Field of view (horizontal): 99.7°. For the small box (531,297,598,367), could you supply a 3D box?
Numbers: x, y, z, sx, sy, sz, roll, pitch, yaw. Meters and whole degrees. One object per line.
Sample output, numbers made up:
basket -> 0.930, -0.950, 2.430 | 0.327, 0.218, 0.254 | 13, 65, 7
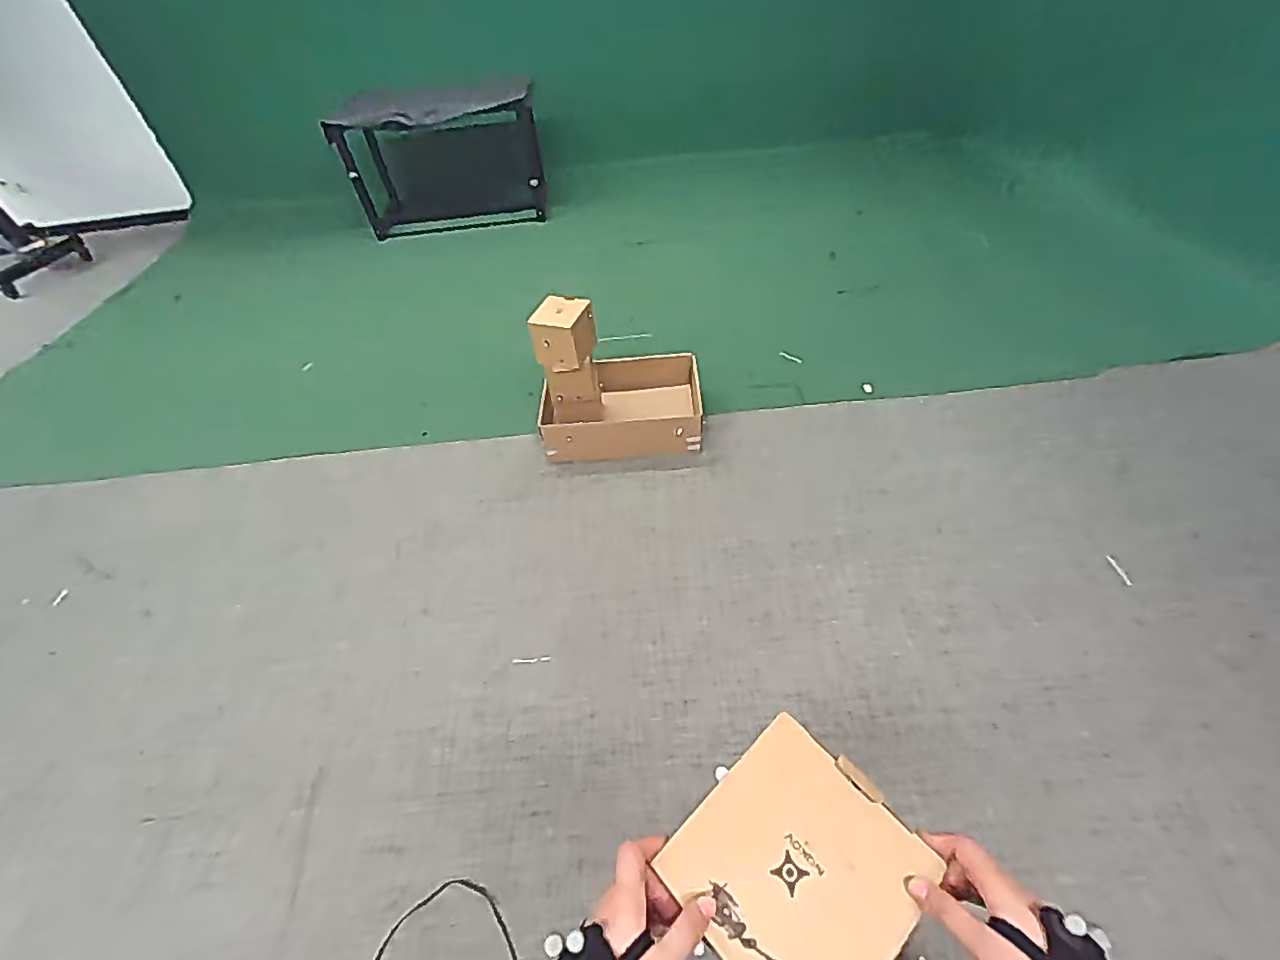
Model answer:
small box -> -0.257, -0.518, 1.899 | 0.168, 0.176, 0.179 | 12, 49, 16

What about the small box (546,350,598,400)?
small box -> -0.247, -0.413, 2.023 | 0.168, 0.176, 0.179 | -4, 47, 1

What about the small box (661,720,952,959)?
small box -> 0.135, 0.361, 0.495 | 0.179, 0.176, 0.168 | -38, 60, -21

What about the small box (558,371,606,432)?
small box -> -0.229, -0.311, 2.151 | 0.168, 0.176, 0.179 | -6, 48, 1
